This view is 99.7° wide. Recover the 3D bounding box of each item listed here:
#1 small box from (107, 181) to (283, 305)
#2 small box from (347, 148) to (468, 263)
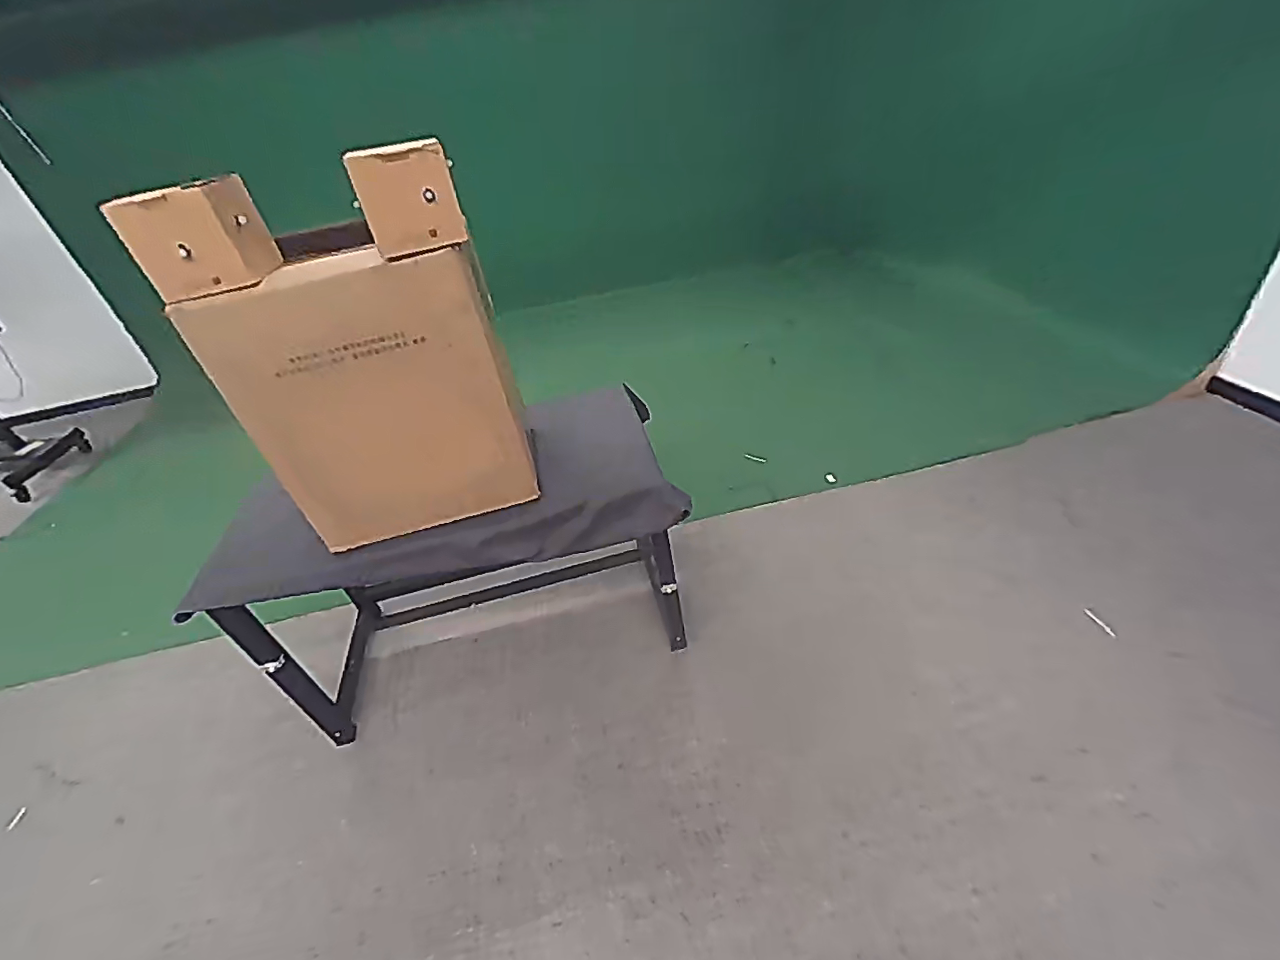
[{"bbox_3d":[-0.817,-0.444,1.021,0.168,0.176,0.179,-15,37,-5],"label":"small box"},{"bbox_3d":[-0.443,-0.531,1.048,0.168,0.176,0.179,-17,36,-13],"label":"small box"}]
